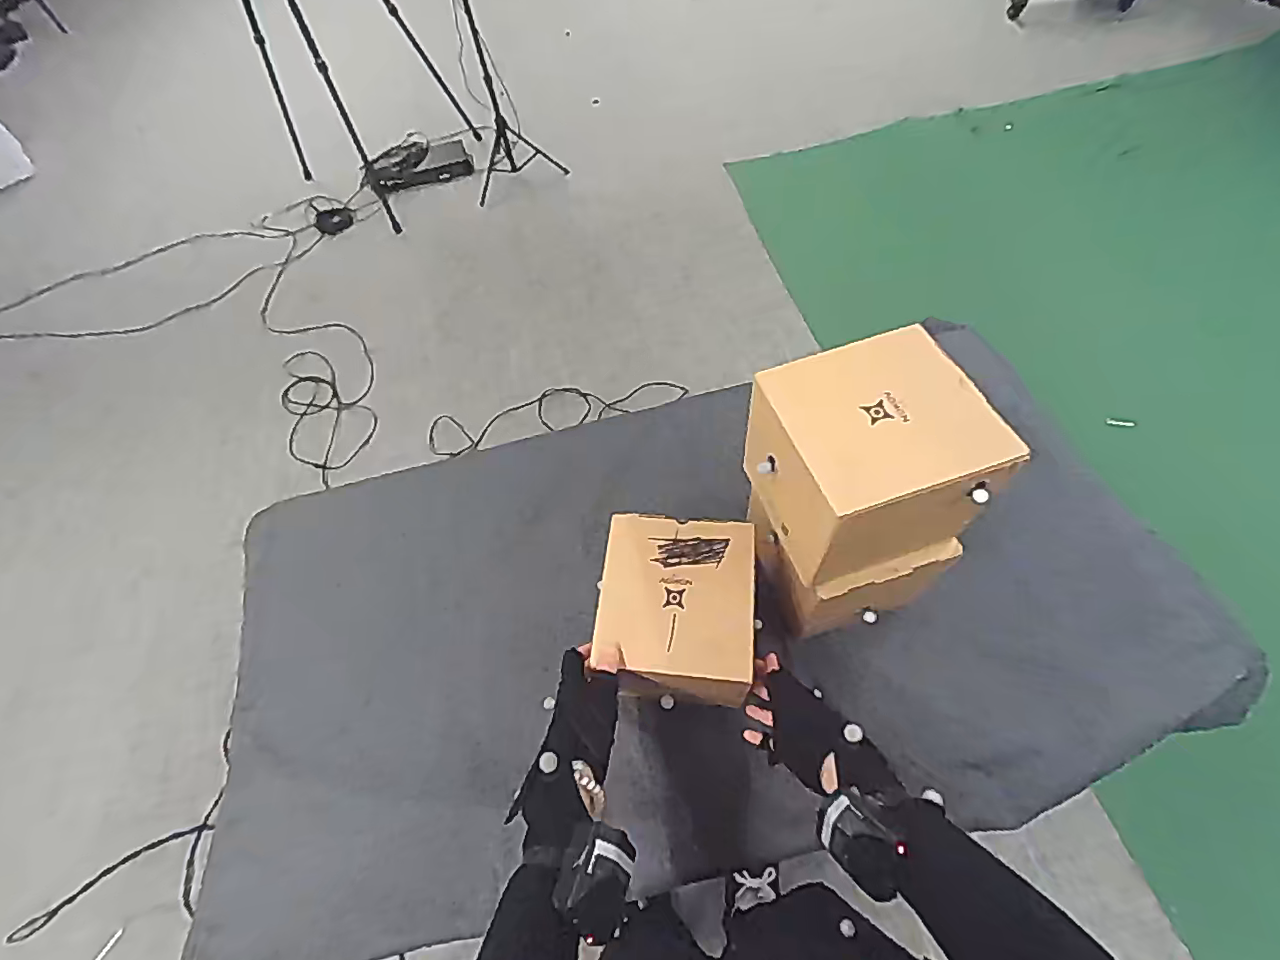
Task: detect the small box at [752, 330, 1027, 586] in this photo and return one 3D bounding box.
[{"bbox_3d":[0.222,-0.014,0.544,0.179,0.176,0.168,-17,58,-5],"label":"small box"}]

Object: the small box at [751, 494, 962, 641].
[{"bbox_3d":[0.248,0.077,0.677,0.168,0.176,0.179,-17,59,-3],"label":"small box"}]
